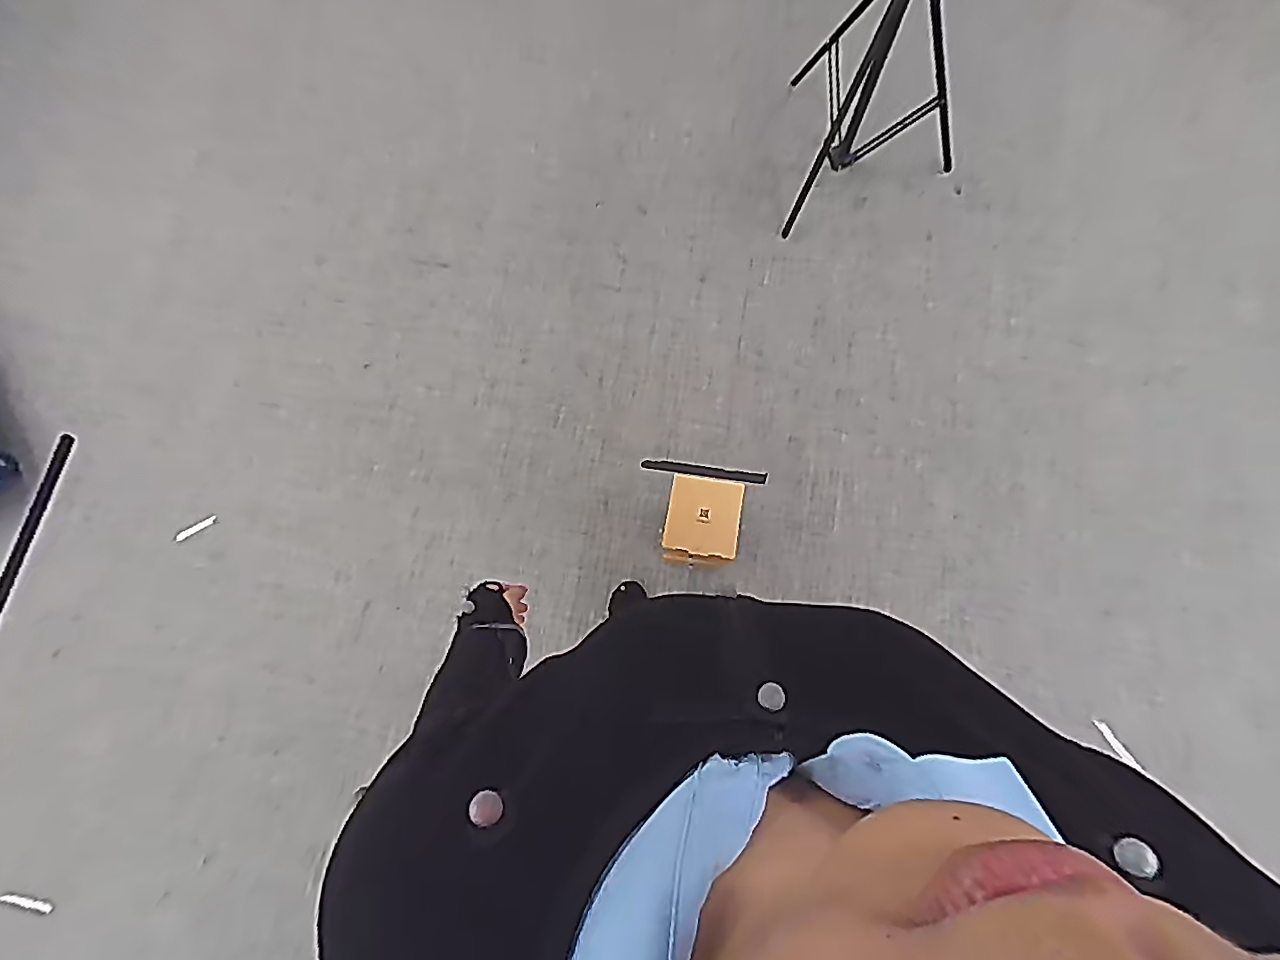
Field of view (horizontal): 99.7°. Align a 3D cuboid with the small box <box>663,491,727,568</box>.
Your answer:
[{"bbox_3d":[0.155,0.139,1.452,0.168,0.176,0.179,7,77,4],"label":"small box"}]

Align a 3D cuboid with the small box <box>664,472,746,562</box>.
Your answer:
[{"bbox_3d":[0.151,0.094,1.295,0.168,0.176,0.179,9,79,5],"label":"small box"}]
